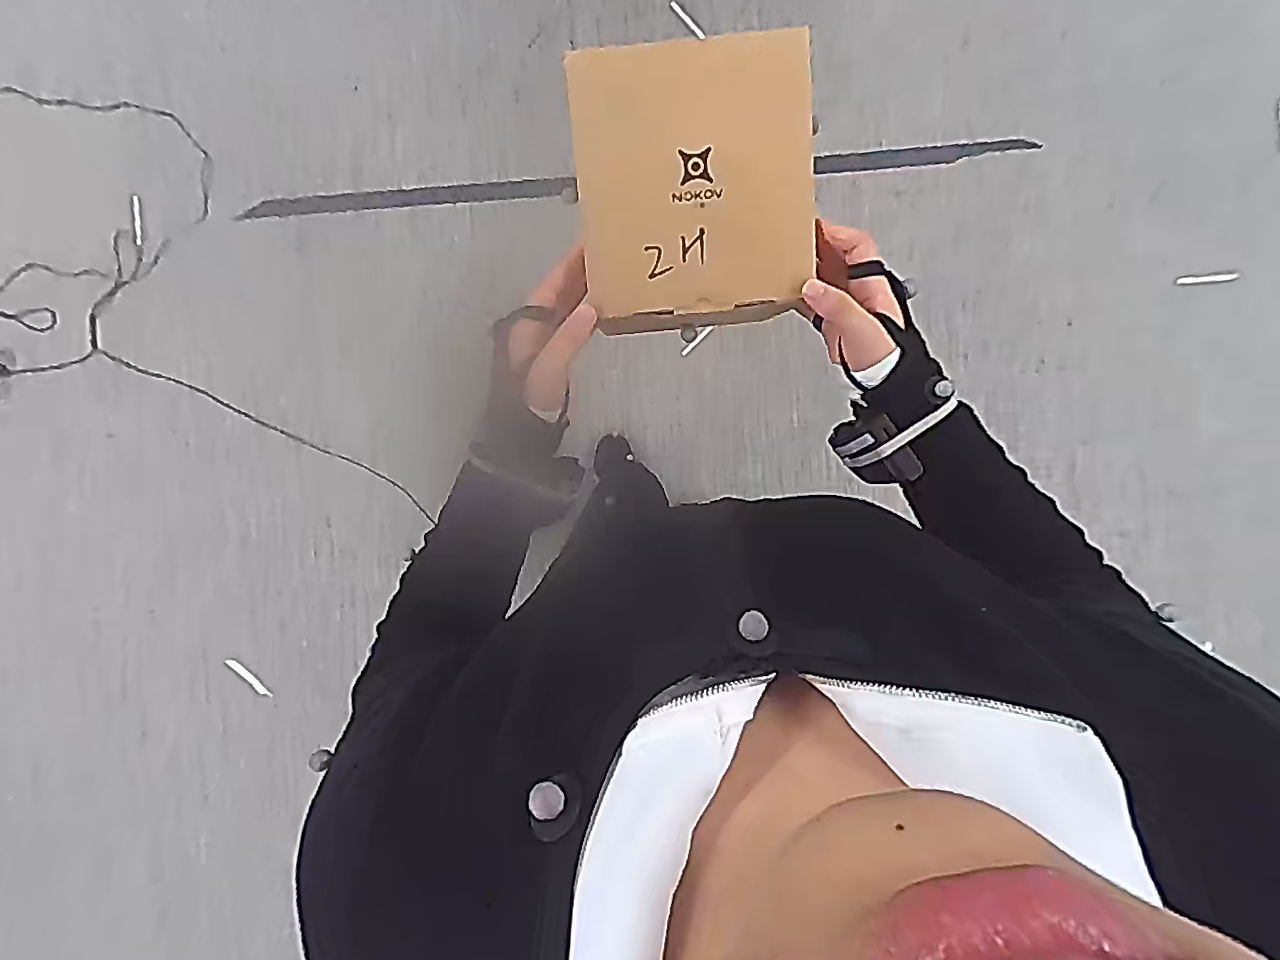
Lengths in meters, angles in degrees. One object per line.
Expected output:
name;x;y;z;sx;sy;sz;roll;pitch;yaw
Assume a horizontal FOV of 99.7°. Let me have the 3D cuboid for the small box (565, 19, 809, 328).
small box;0.035;-0.232;0.457;0.168;0.176;0.179;-5;101;1
